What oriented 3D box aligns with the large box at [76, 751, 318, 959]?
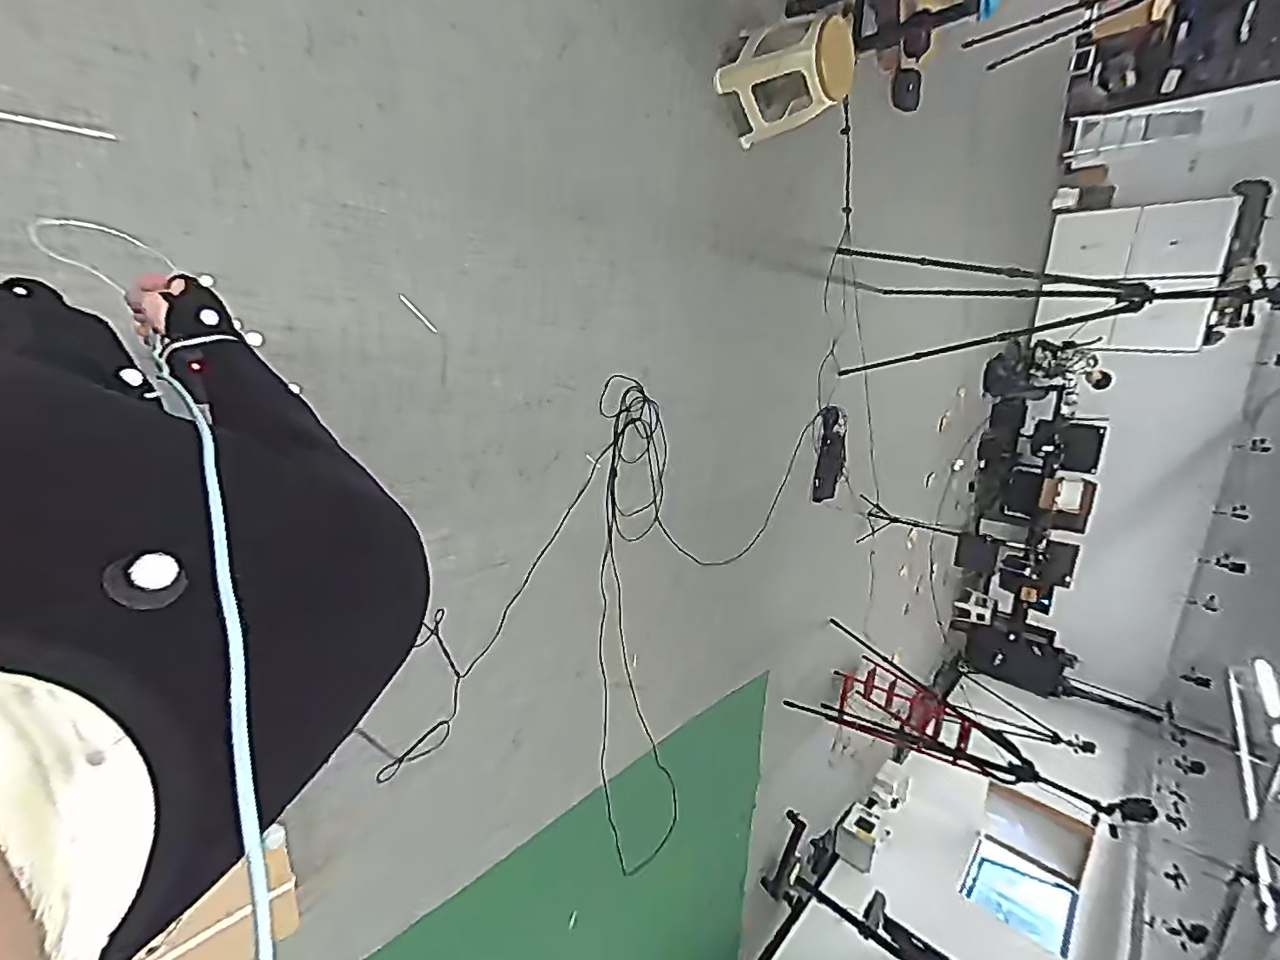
[{"bbox_3d":[-1.100,0.986,1.365,0.408,0.320,0.320,-14,111,-43],"label":"large box"}]
